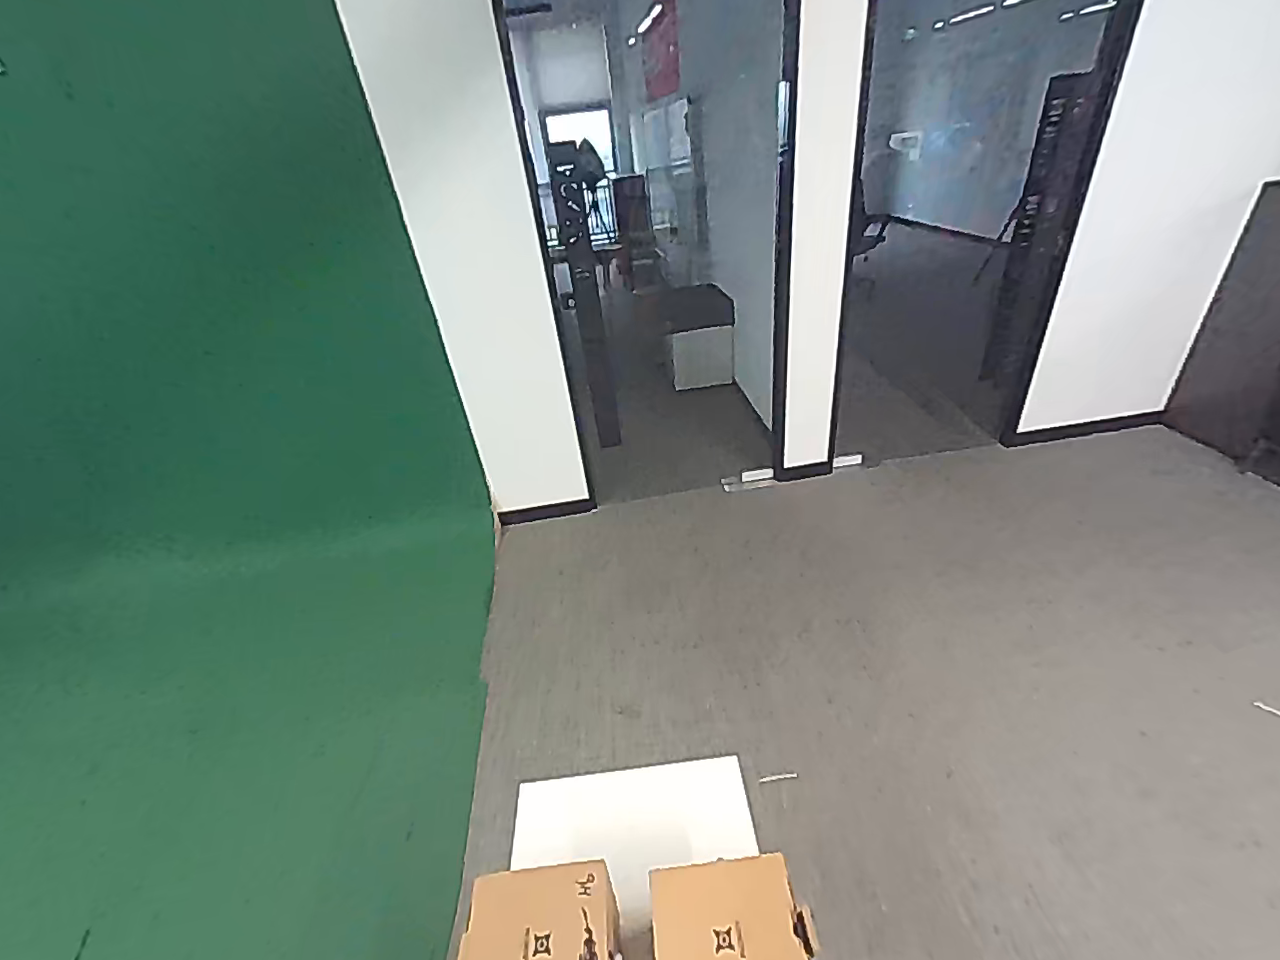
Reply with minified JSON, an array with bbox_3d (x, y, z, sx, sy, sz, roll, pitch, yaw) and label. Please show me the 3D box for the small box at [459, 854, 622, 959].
[{"bbox_3d":[-0.120,0.616,0.689,0.179,0.176,0.168,-7,33,-1],"label":"small box"}]
